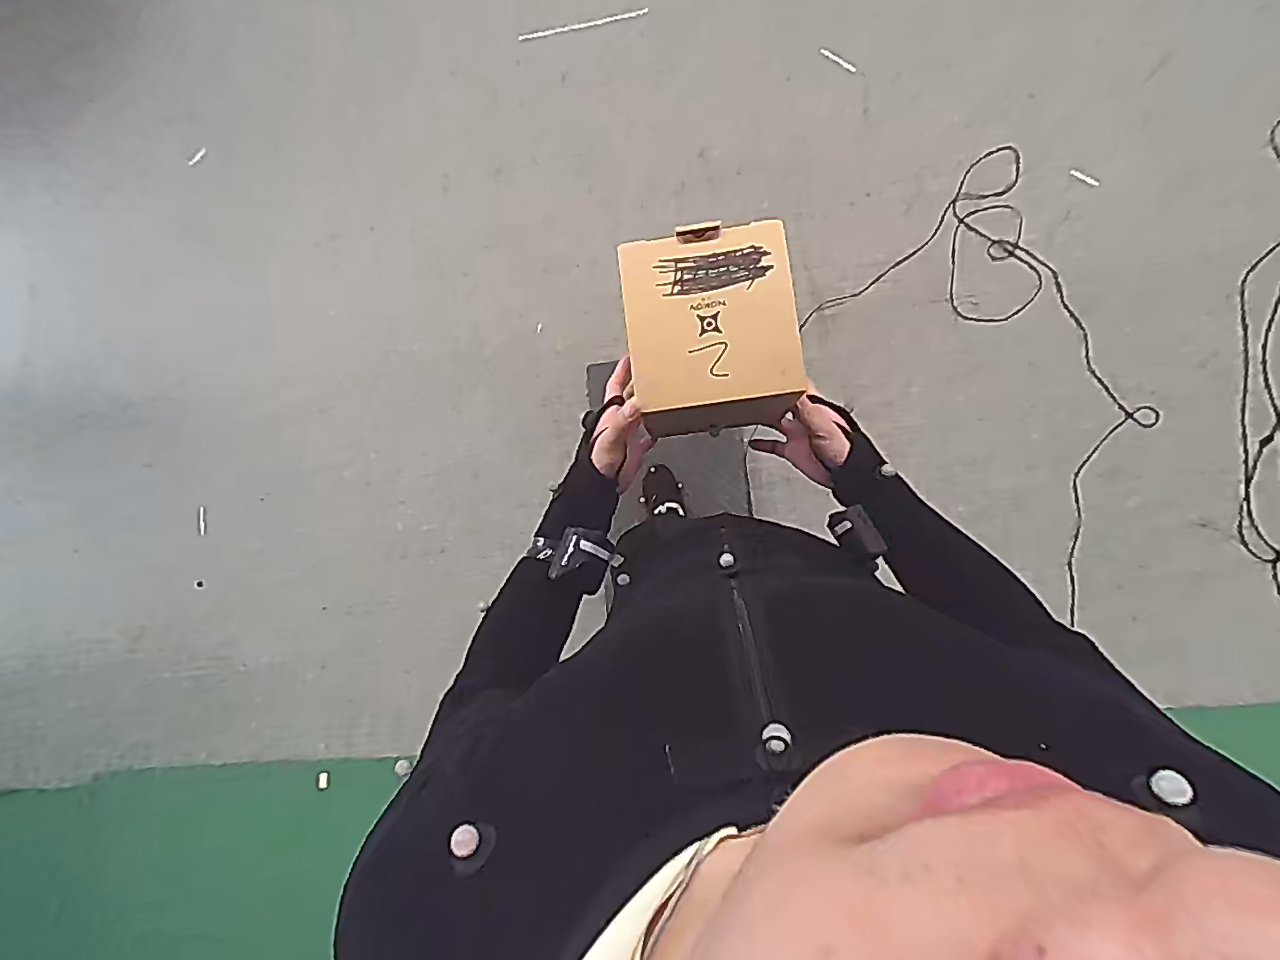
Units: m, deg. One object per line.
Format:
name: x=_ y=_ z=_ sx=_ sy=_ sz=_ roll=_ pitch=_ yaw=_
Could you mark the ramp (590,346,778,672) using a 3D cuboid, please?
ramp: x=0.110 y=0.062 z=1.702 sx=0.509 sy=0.206 sz=0.991 roll=-9 pitch=85 yaw=7
